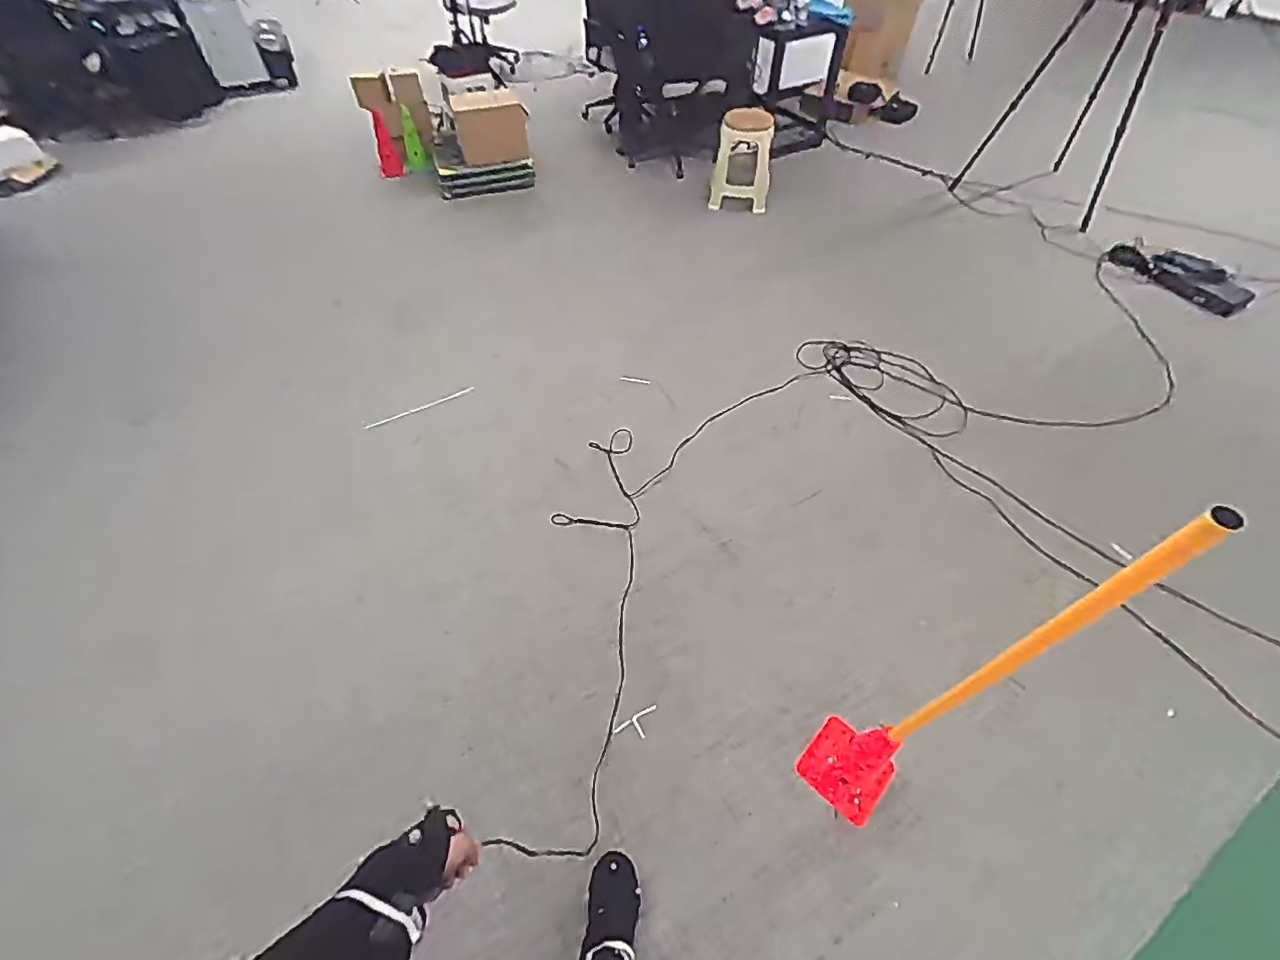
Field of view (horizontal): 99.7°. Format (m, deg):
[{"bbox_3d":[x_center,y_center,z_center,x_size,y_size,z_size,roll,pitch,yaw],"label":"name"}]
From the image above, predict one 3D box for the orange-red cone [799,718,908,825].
[{"bbox_3d":[0.546,0.649,1.282,0.198,0.360,0.199,38,60,25],"label":"orange-red cone"}]
